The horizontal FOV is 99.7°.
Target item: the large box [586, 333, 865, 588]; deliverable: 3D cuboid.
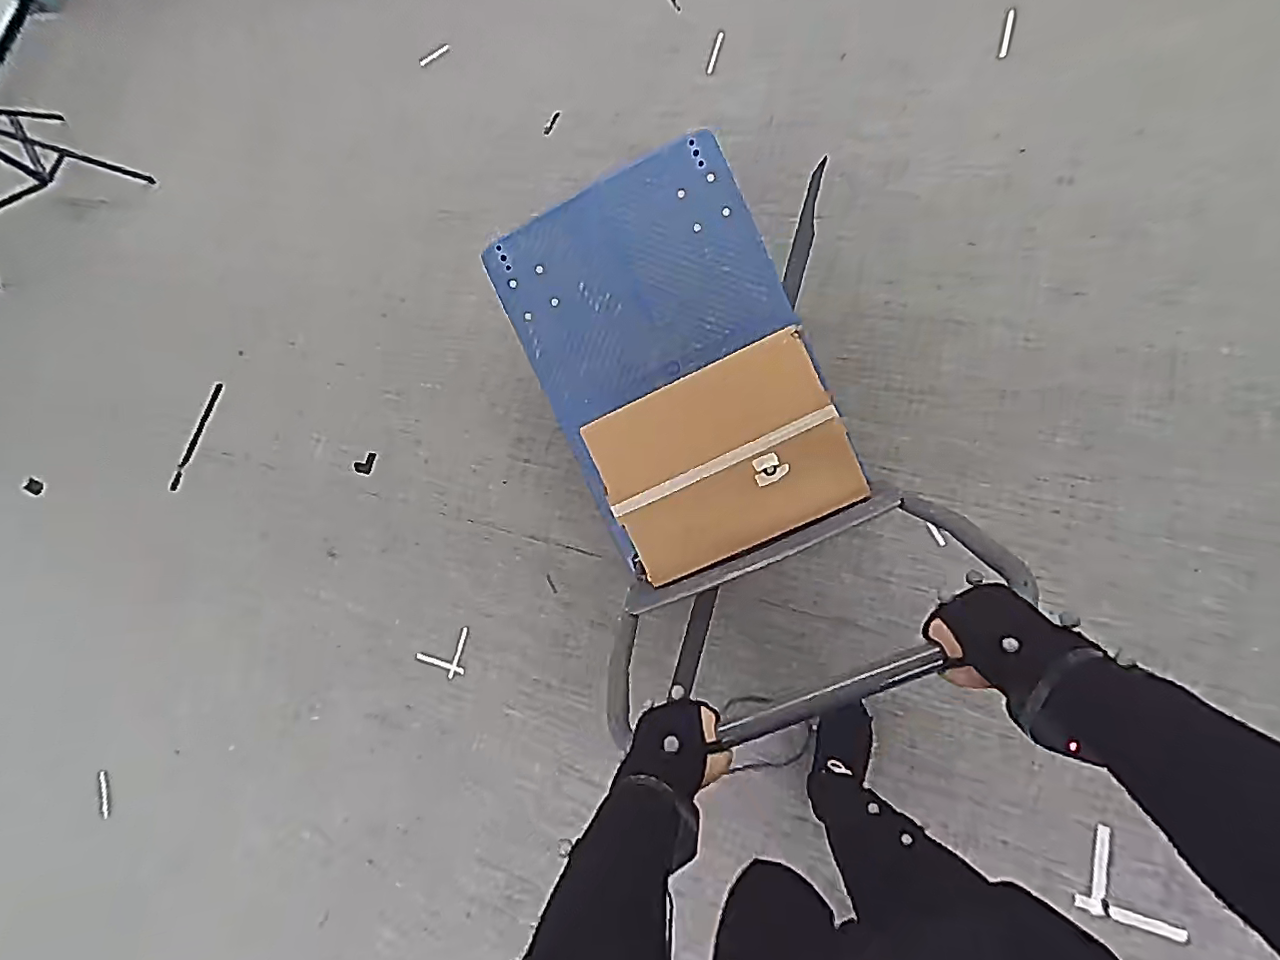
[{"bbox_3d":[0.157,-0.037,1.086,0.408,0.320,0.320,-26,93,7],"label":"large box"}]
